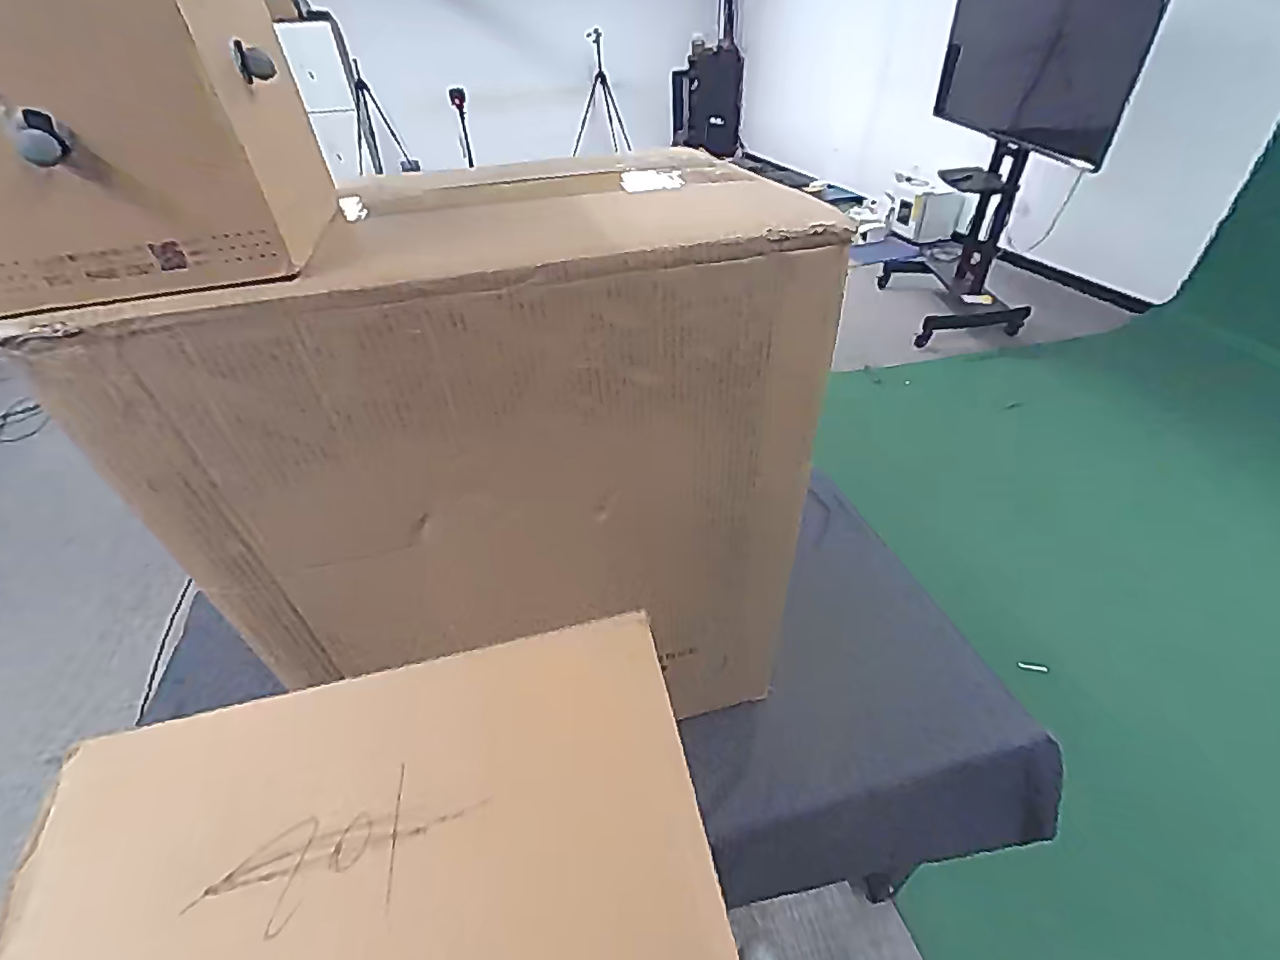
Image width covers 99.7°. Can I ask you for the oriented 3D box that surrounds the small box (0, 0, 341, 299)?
[{"bbox_3d":[-0.306,-0.220,0.325,0.168,0.176,0.179,-12,42,-9],"label":"small box"}]
